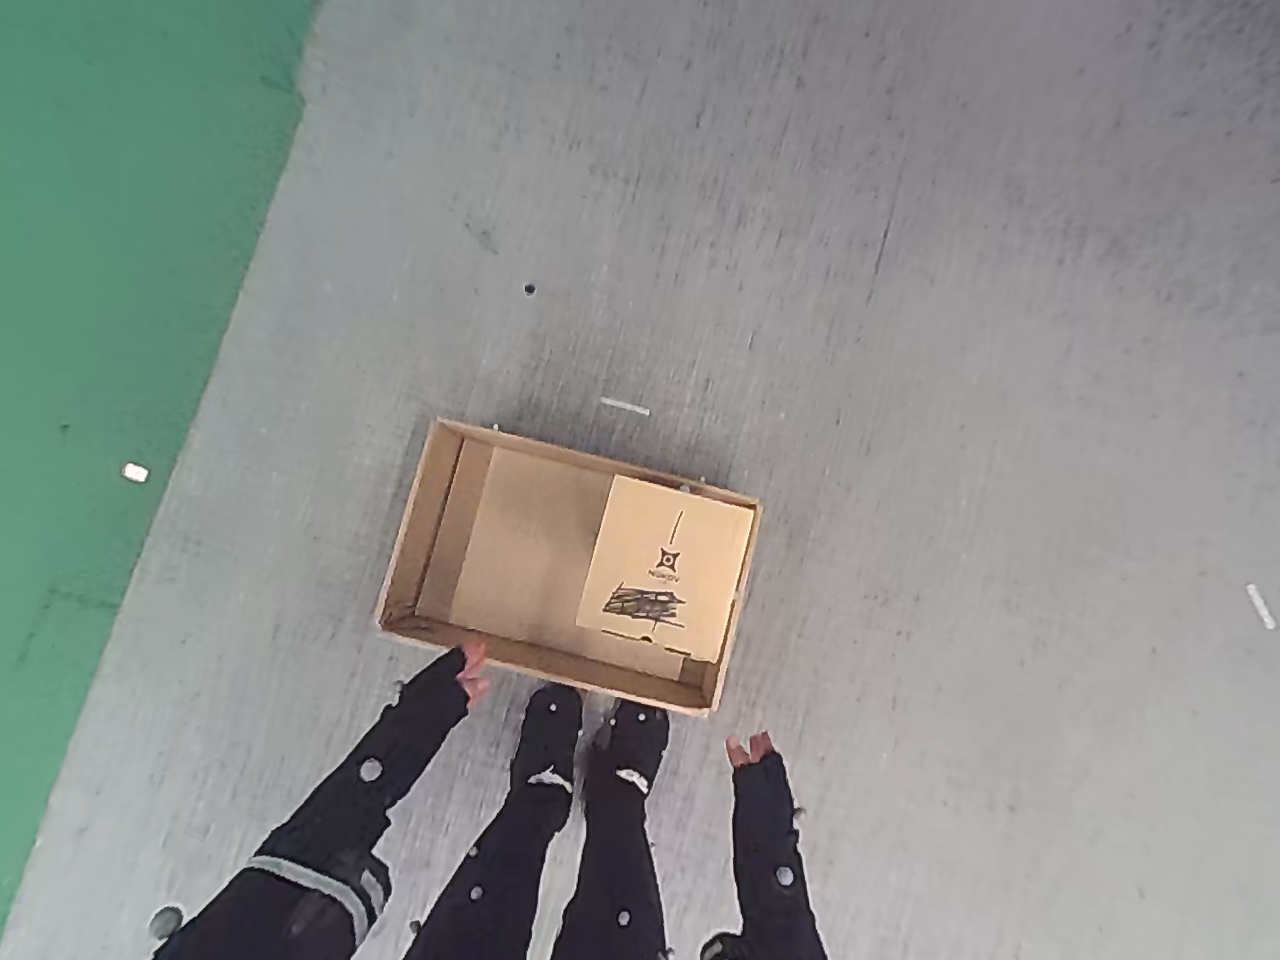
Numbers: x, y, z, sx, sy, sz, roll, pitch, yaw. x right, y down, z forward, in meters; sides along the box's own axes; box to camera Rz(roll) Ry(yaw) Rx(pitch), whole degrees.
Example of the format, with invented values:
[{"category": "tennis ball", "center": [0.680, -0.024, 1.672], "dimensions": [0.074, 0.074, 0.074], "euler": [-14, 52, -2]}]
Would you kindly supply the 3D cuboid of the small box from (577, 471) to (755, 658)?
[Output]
[{"category": "small box", "center": [0.030, 0.099, 0.683], "dimensions": [0.168, 0.176, 0.179], "euler": [15, 85, 1]}]
